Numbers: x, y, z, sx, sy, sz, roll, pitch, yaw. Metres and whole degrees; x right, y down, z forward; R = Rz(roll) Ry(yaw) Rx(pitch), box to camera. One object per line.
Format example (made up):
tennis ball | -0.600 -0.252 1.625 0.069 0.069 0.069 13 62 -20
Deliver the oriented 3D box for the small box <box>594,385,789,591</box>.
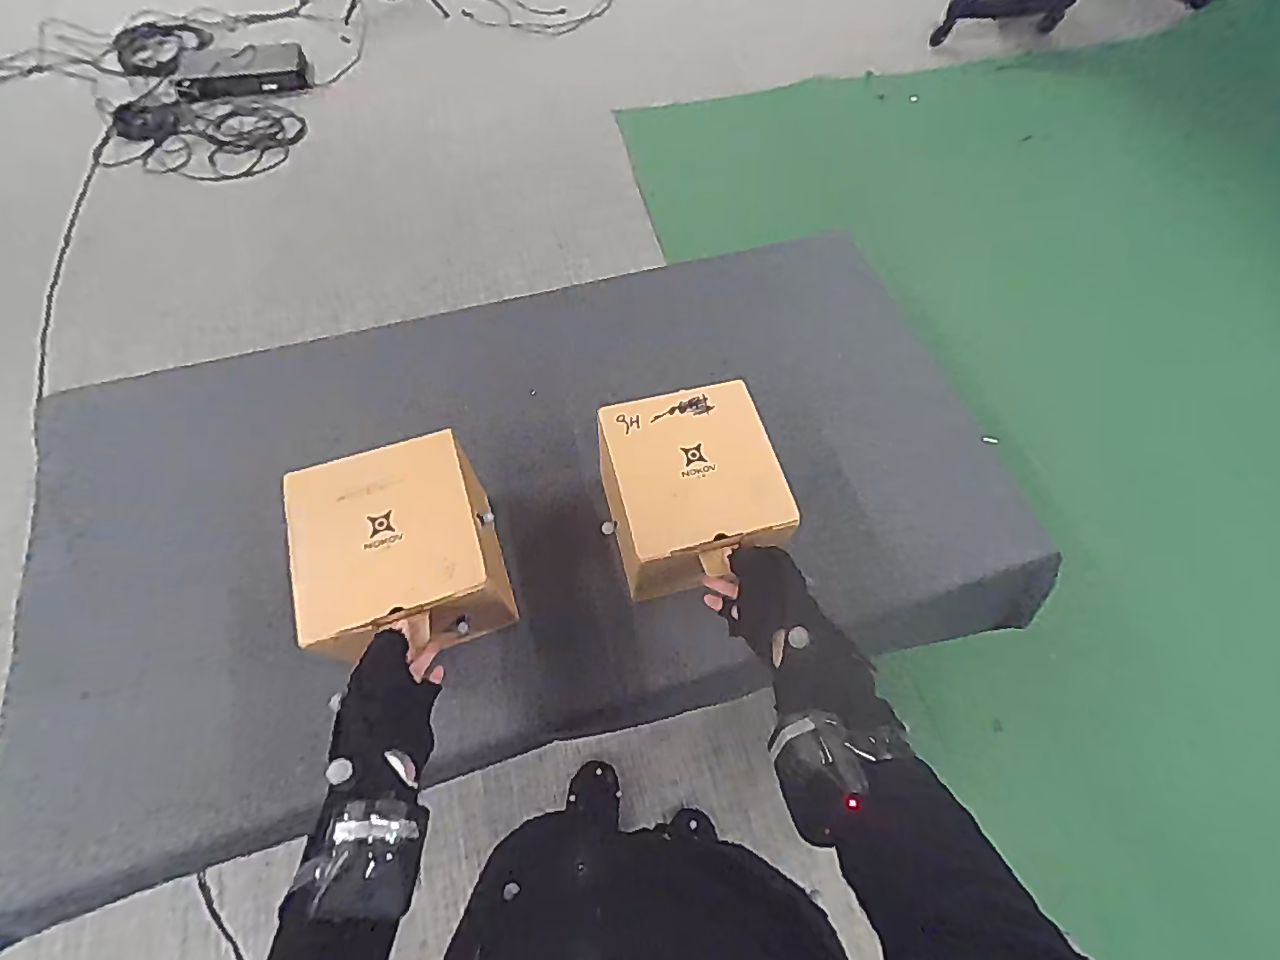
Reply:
small box | 0.047 0.020 0.626 0.168 0.176 0.179 -13 67 -8

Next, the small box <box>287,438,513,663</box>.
small box | -0.248 0.087 0.589 0.168 0.176 0.179 -18 65 -11
